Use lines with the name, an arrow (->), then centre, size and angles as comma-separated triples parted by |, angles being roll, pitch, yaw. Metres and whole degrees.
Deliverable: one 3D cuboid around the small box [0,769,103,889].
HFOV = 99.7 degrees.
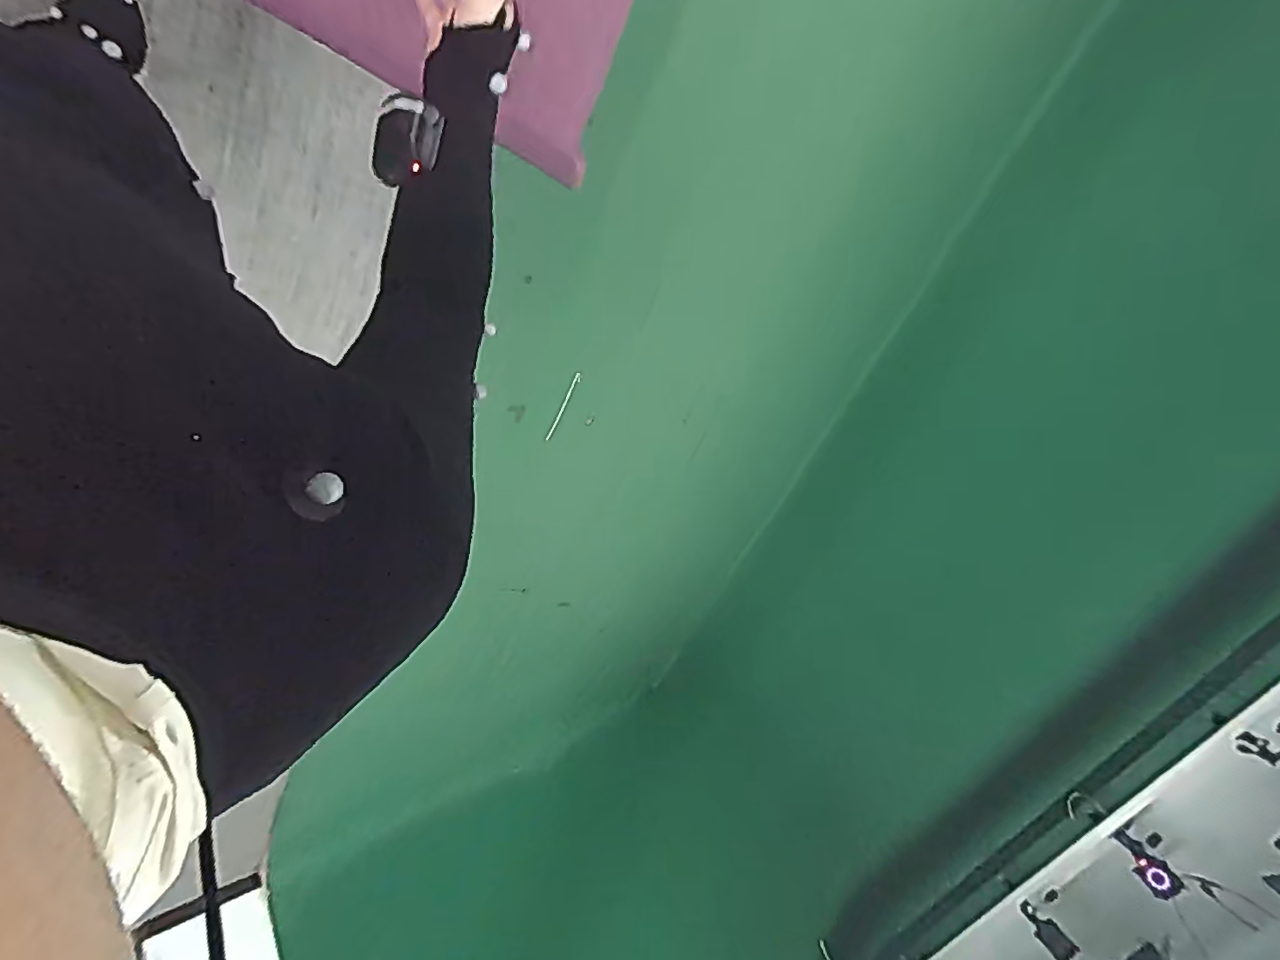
small box -> -1.504, 0.873, 1.369 | 0.179, 0.176, 0.168 | 8, 119, -52
